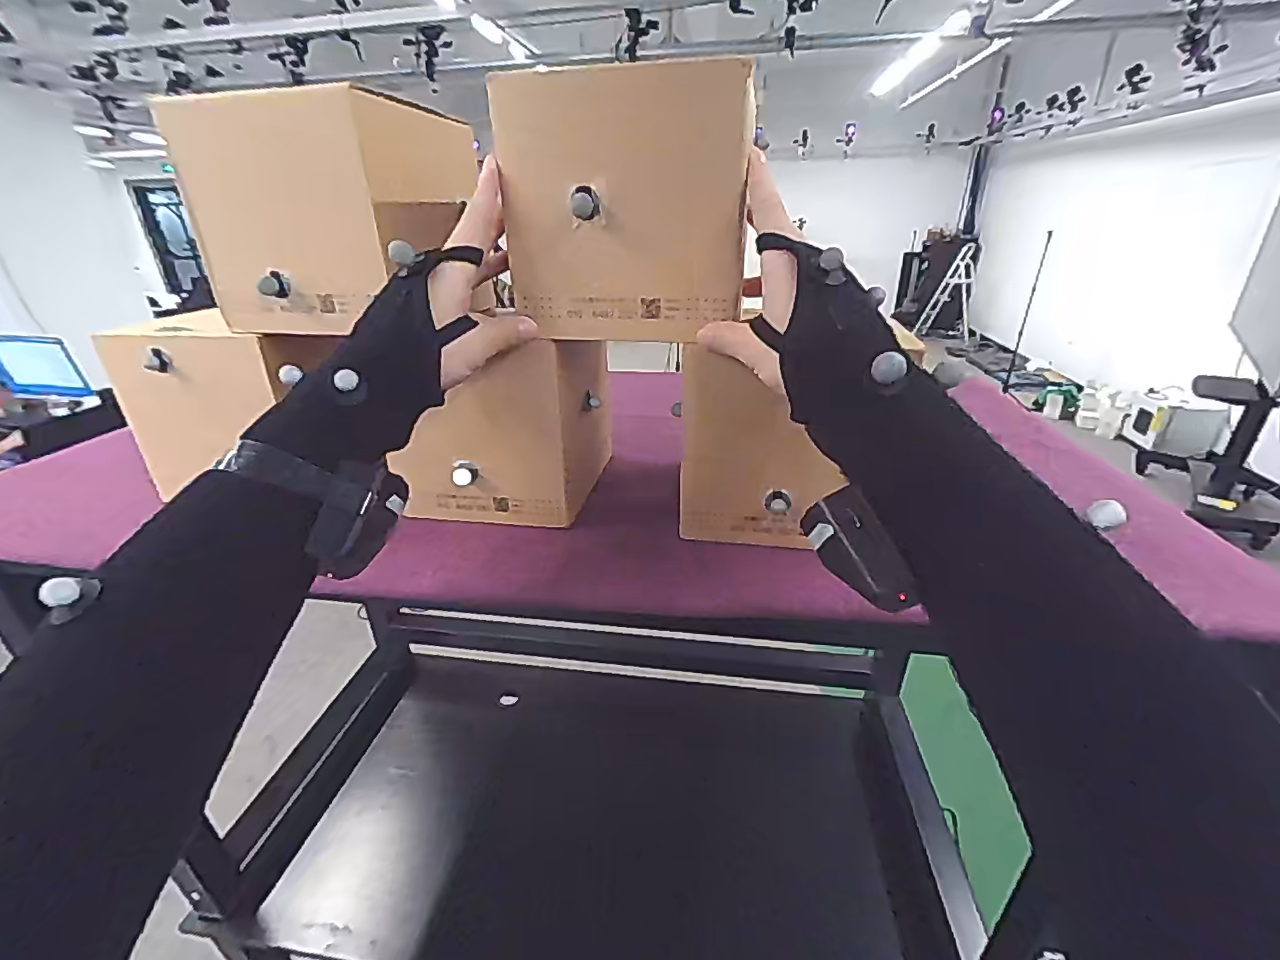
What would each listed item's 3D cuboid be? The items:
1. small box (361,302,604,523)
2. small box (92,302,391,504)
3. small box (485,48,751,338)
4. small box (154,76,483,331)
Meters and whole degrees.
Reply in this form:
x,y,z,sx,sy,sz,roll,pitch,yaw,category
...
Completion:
x,y,z,sx,sy,sz,roll,pitch,yaw,category
-0.132,-0.076,0.528,0.168,0.176,0.179,3,26,9,small box
-0.382,-0.090,0.562,0.168,0.176,0.179,2,25,9,small box
0.000,-0.213,0.434,0.168,0.176,0.179,4,26,10,small box
-0.254,-0.232,0.480,0.168,0.176,0.179,4,26,11,small box
